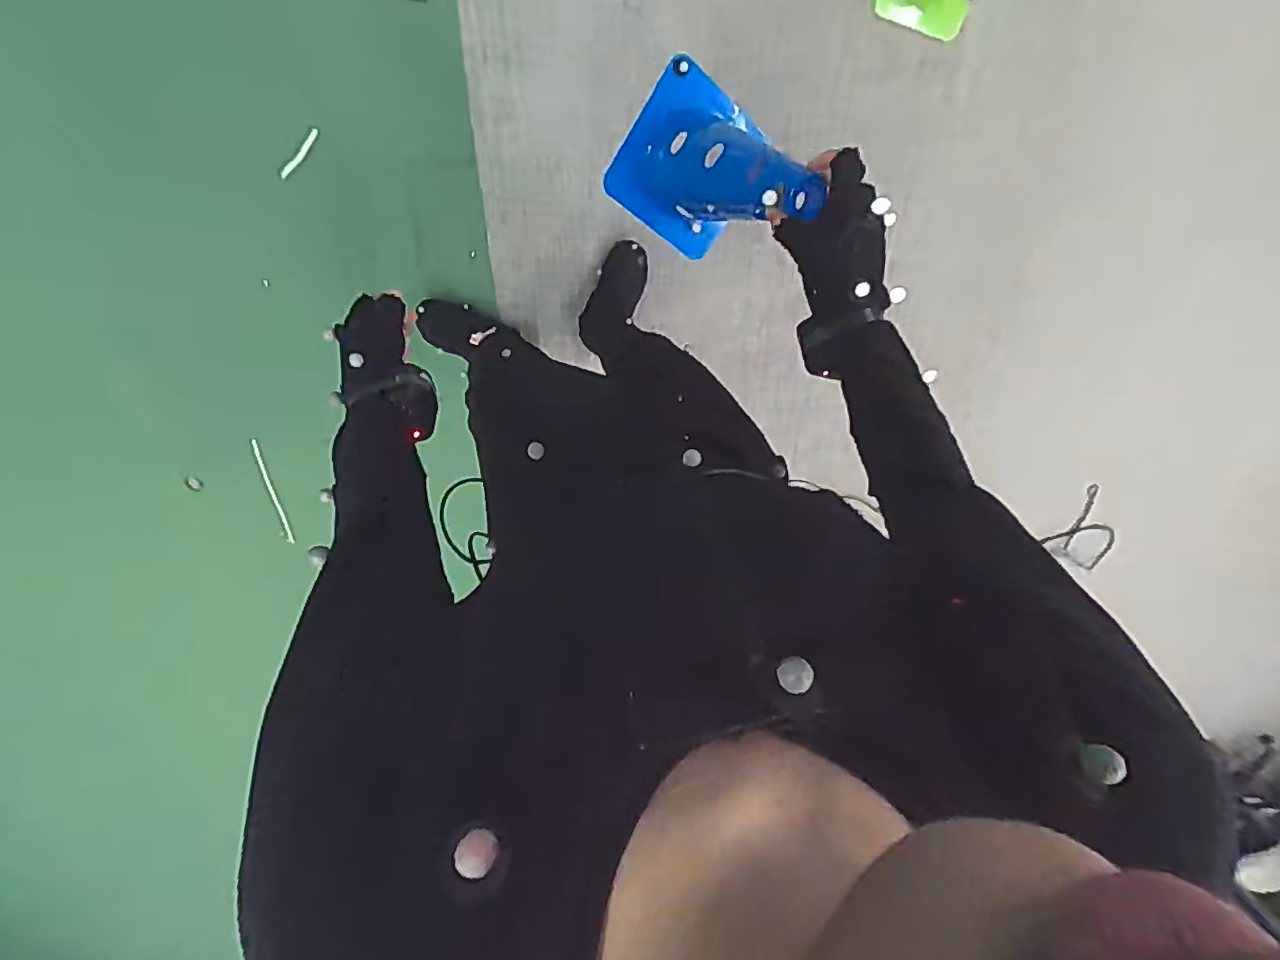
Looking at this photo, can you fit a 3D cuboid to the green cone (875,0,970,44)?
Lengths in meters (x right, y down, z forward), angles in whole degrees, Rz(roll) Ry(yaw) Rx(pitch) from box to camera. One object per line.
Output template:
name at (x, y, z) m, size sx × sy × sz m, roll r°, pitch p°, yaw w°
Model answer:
green cone at (0.608, -0.926, 0.925) m, size 0.202 × 0.368 × 0.200 m, roll 6°, pitch 118°, yaw -13°
